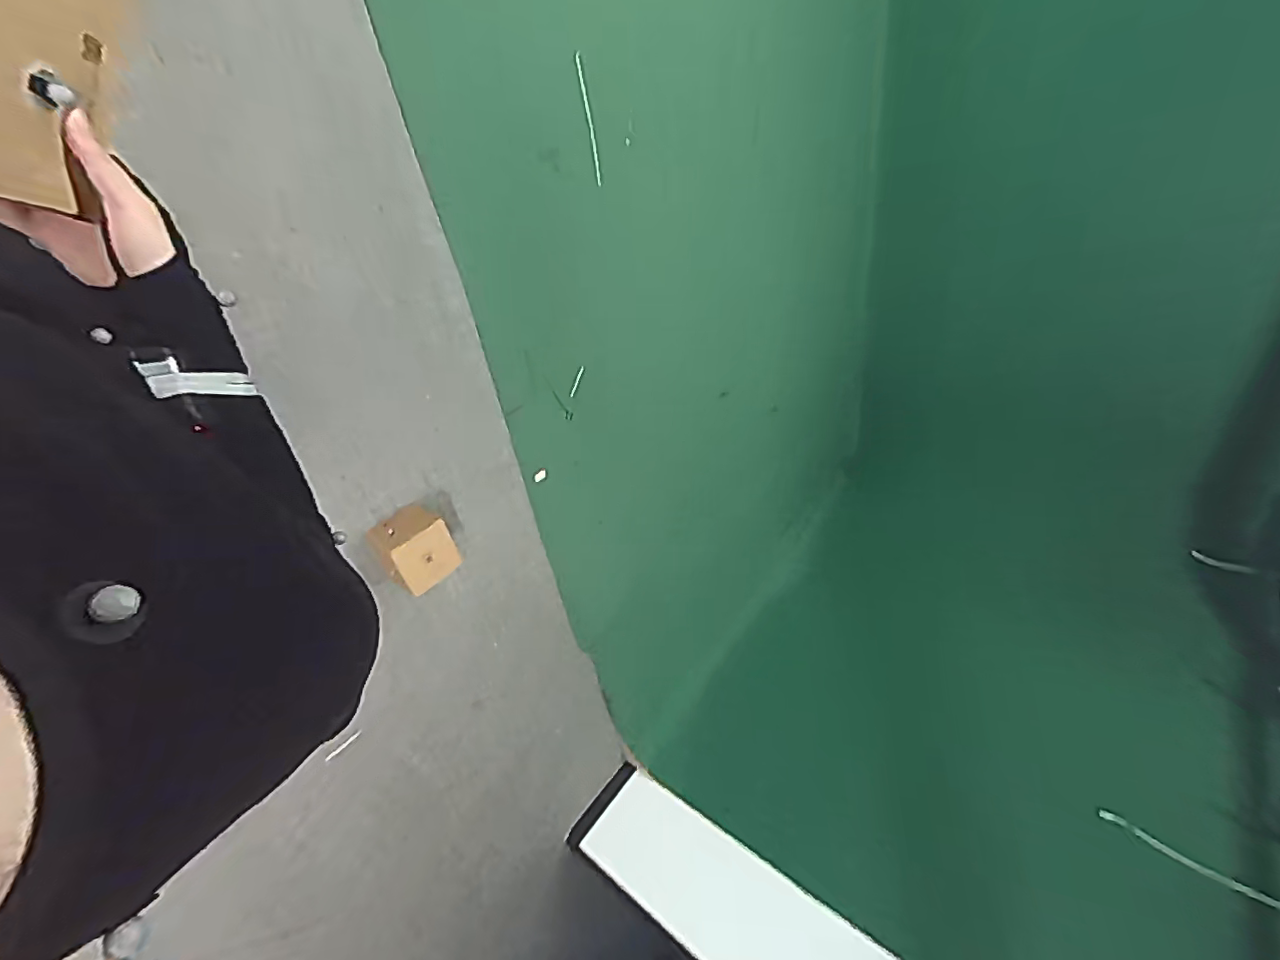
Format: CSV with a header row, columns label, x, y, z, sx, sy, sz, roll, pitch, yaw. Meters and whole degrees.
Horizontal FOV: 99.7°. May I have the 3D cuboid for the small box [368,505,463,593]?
label,x,y,z,sx,sy,sz,roll,pitch,yaw
small box,-0.655,0.190,1.575,0.168,0.176,0.179,-39,132,-34

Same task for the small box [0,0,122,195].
label,x,y,z,sx,sy,sz,roll,pitch,yaw
small box,-0.423,-0.266,0.267,0.179,0.176,0.168,14,103,-16
